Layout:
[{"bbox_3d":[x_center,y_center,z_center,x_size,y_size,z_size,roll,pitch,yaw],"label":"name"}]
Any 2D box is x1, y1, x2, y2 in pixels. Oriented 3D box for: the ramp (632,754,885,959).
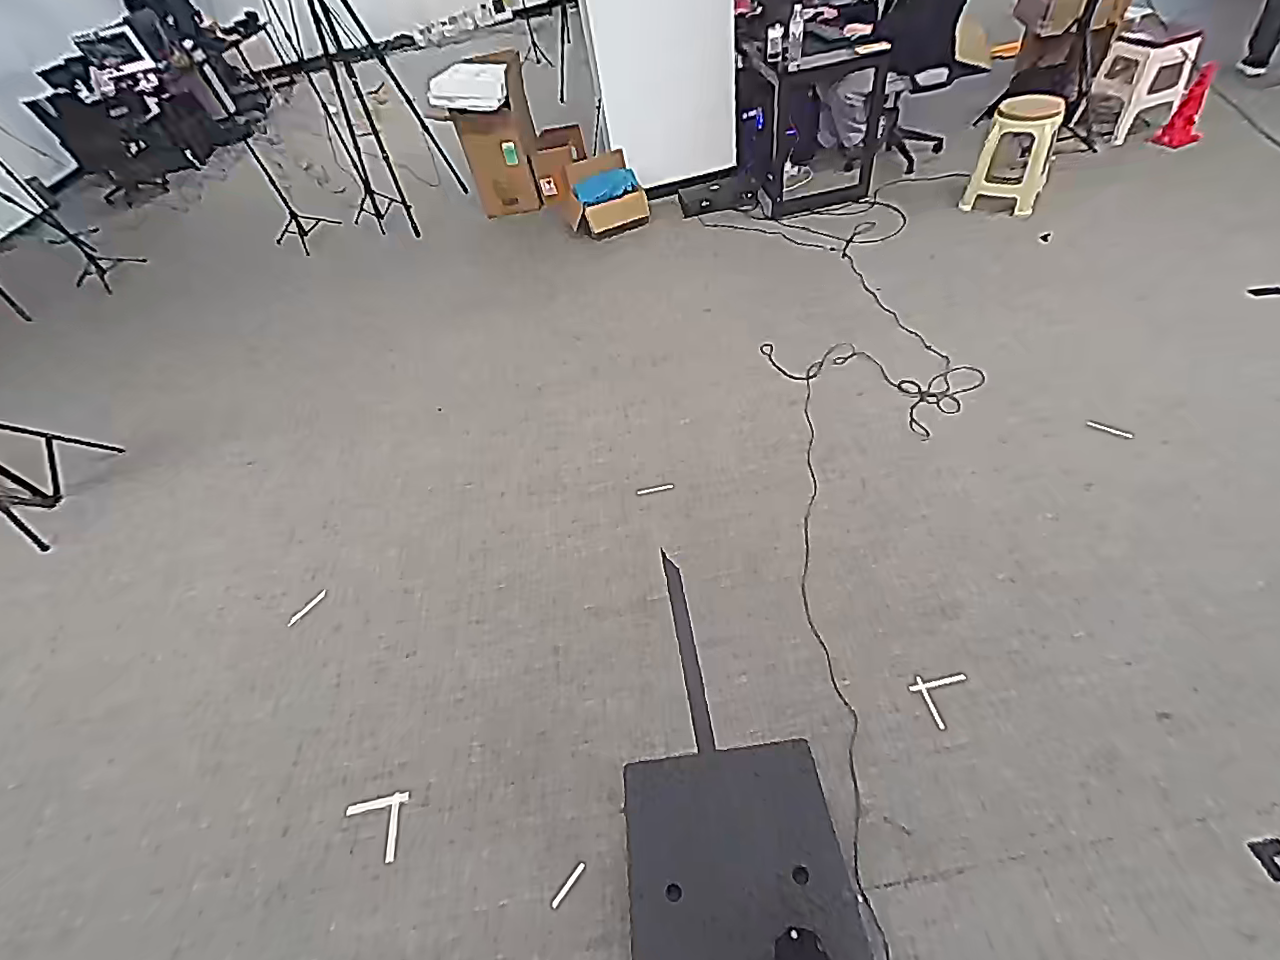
[{"bbox_3d":[0.255,1.057,1.020,0.509,0.206,0.991,-14,46,2],"label":"ramp"}]
